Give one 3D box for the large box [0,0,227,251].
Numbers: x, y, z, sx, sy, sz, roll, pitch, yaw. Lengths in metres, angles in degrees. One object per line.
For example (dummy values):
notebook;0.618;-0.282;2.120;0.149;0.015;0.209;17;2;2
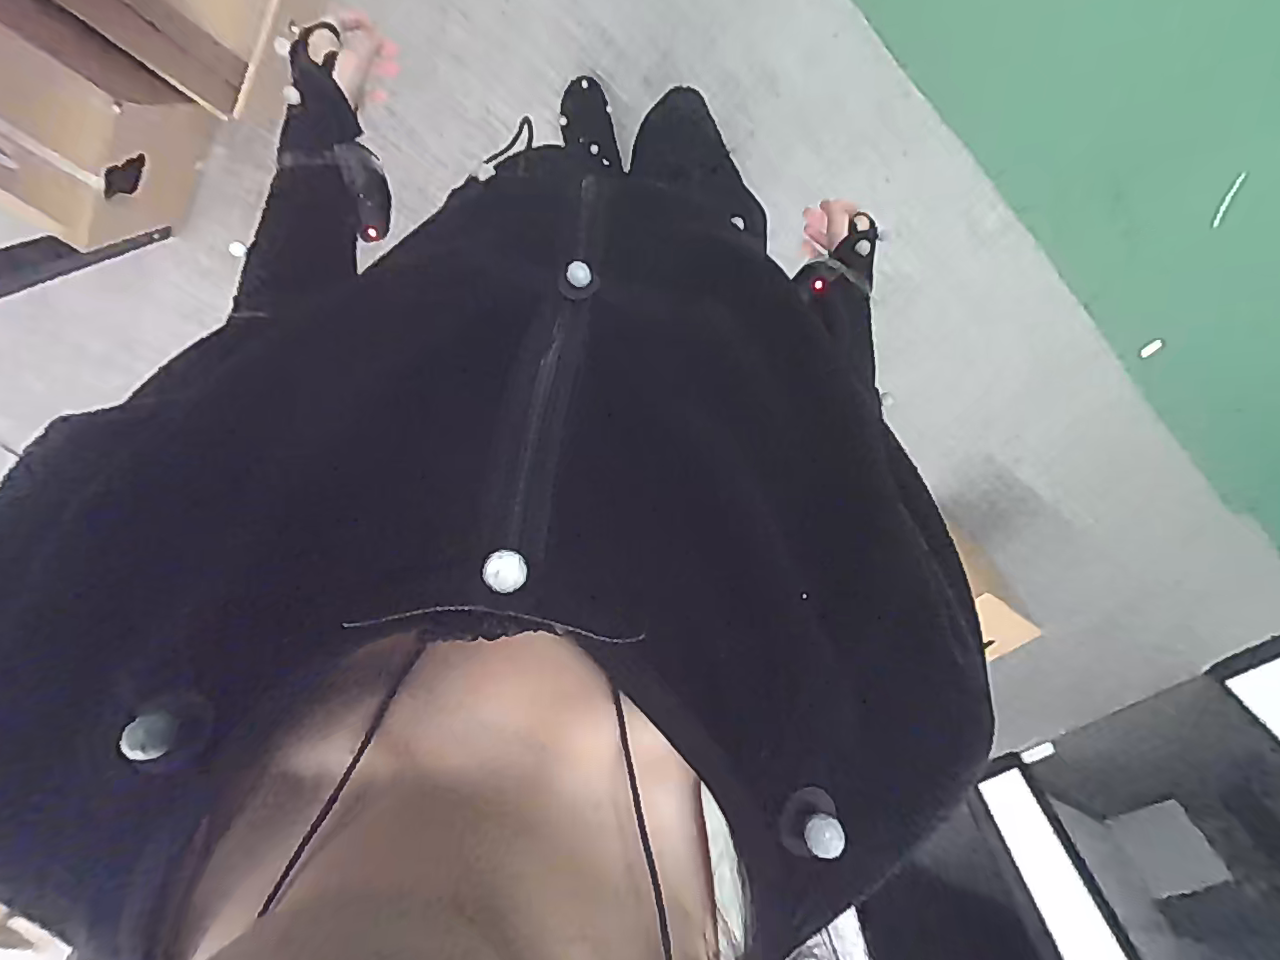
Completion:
large box;-1.105;-0.713;1.002;0.408;0.320;0.320;32;119;-24
